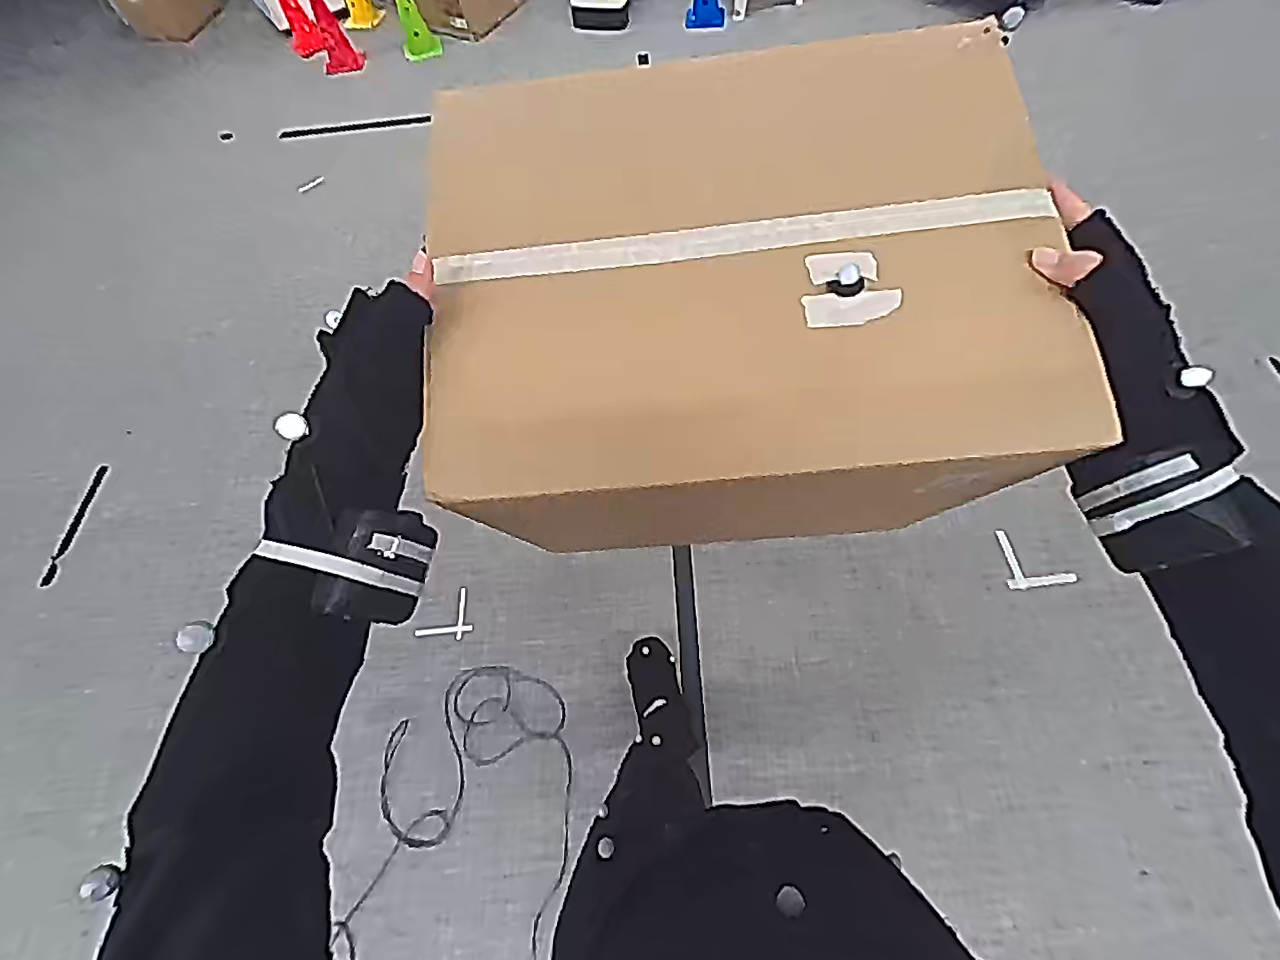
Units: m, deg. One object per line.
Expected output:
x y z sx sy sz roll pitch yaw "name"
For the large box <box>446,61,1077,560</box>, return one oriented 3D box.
0.068 -0.111 0.520 0.408 0.320 0.320 -5 76 3 "large box"
